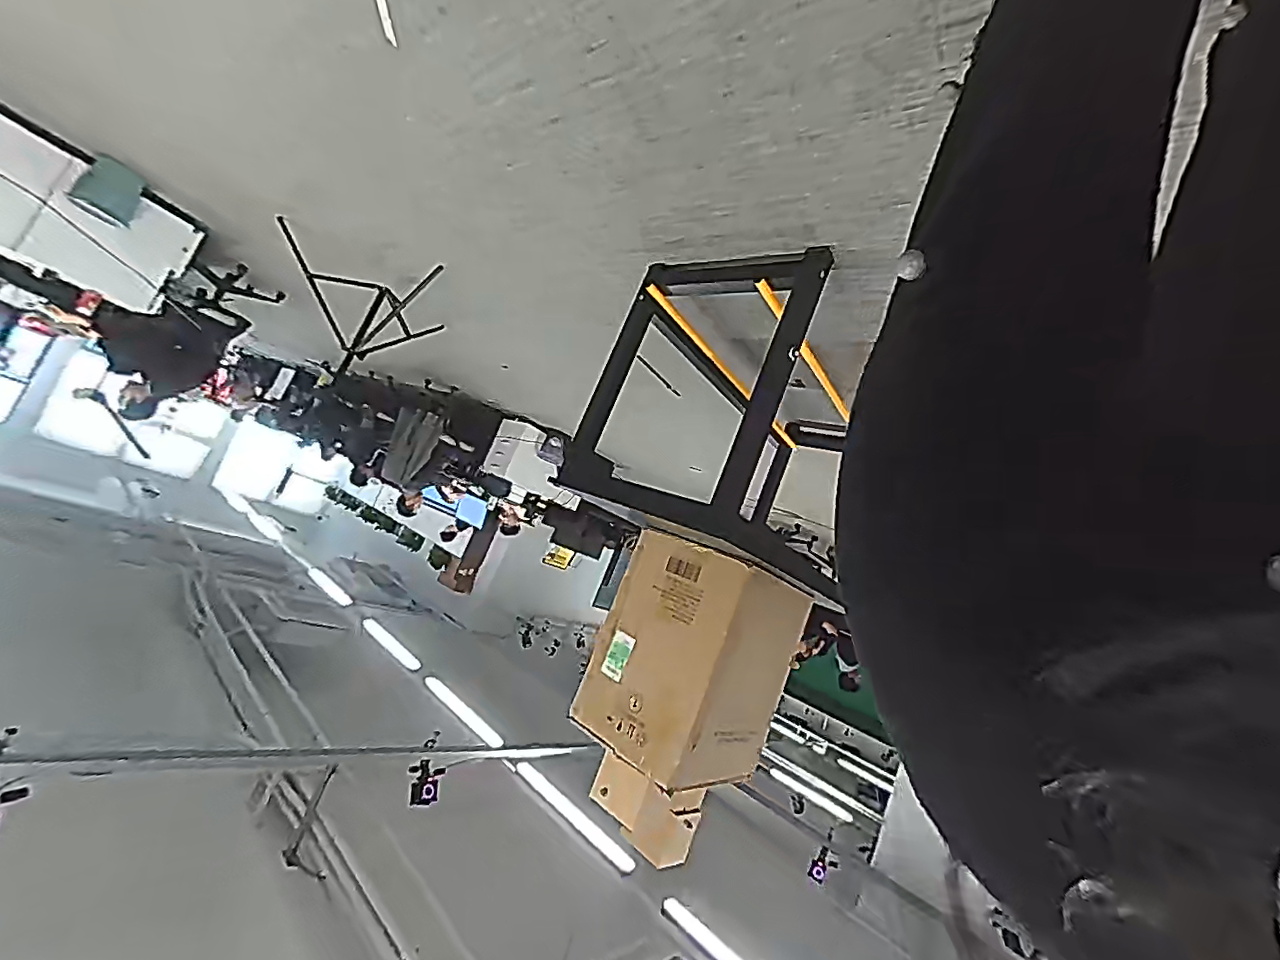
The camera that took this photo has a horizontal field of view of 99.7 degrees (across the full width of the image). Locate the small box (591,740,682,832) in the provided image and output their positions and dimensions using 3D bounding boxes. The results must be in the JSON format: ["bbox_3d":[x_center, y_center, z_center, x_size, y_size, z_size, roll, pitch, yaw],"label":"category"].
[{"bbox_3d":[-0.006,0.882,1.578,0.179,0.176,0.168,15,171,41],"label":"small box"}]

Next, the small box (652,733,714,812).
[{"bbox_3d":[0.127,0.968,1.803,0.179,0.176,0.168,15,168,42],"label":"small box"}]

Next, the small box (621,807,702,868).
[{"bbox_3d":[0.075,1.121,1.771,0.179,0.176,0.168,15,169,43],"label":"small box"}]
